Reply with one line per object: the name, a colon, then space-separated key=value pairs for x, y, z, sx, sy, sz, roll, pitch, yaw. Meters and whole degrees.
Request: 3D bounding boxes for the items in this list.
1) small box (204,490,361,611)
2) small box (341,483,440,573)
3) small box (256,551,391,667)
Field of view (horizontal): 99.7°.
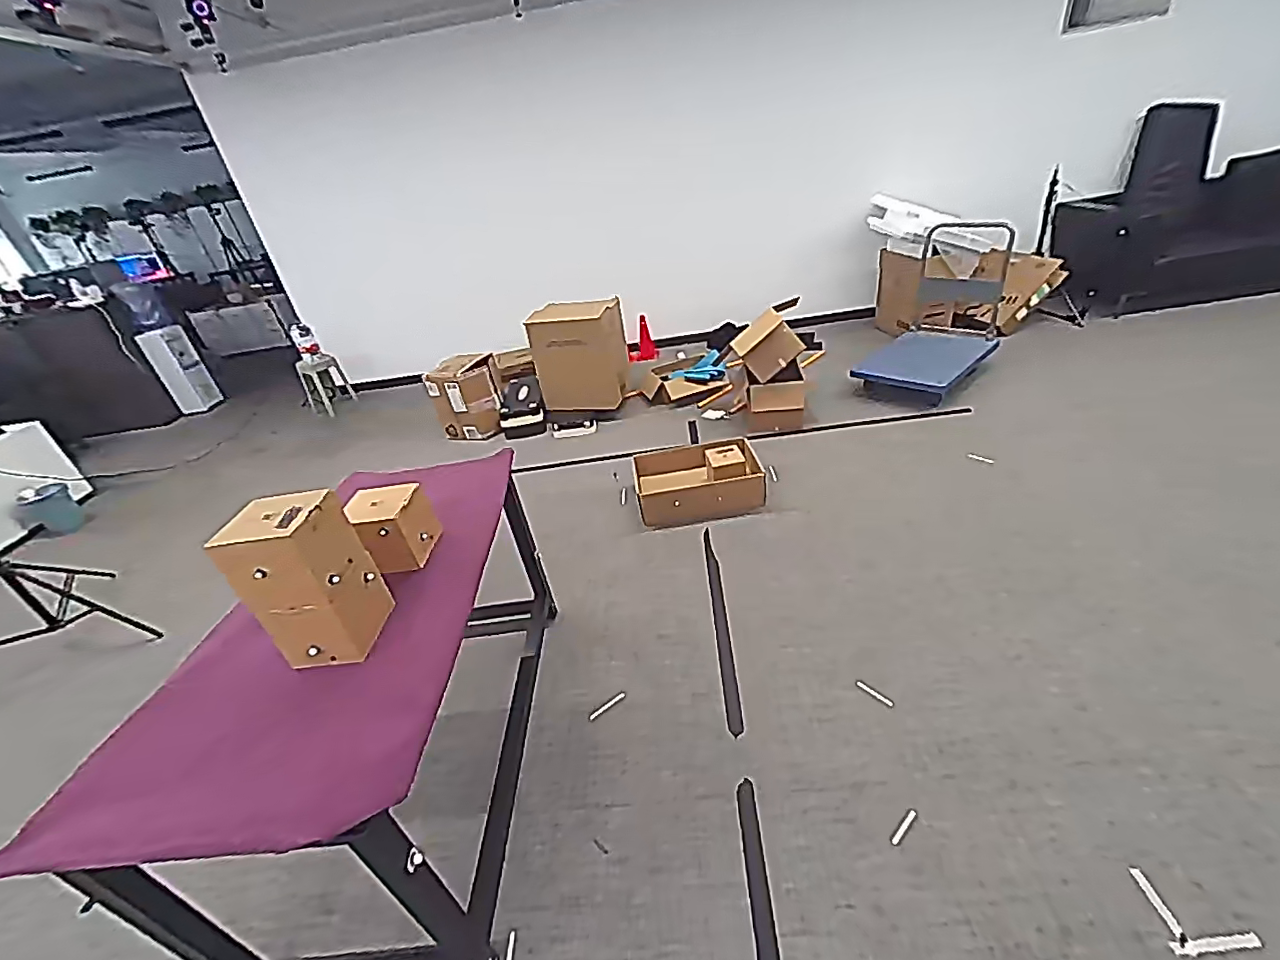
small box: x=-0.707 y=0.143 z=1.098 sx=0.179 sy=0.176 sz=0.168 roll=-9 pitch=31 yaw=4
small box: x=-0.659 y=0.131 z=1.421 sx=0.179 sy=0.176 sz=0.168 roll=-8 pitch=31 yaw=5
small box: x=-0.674 y=0.280 z=1.182 sx=0.168 sy=0.176 sz=0.179 roll=-8 pitch=31 yaw=6
